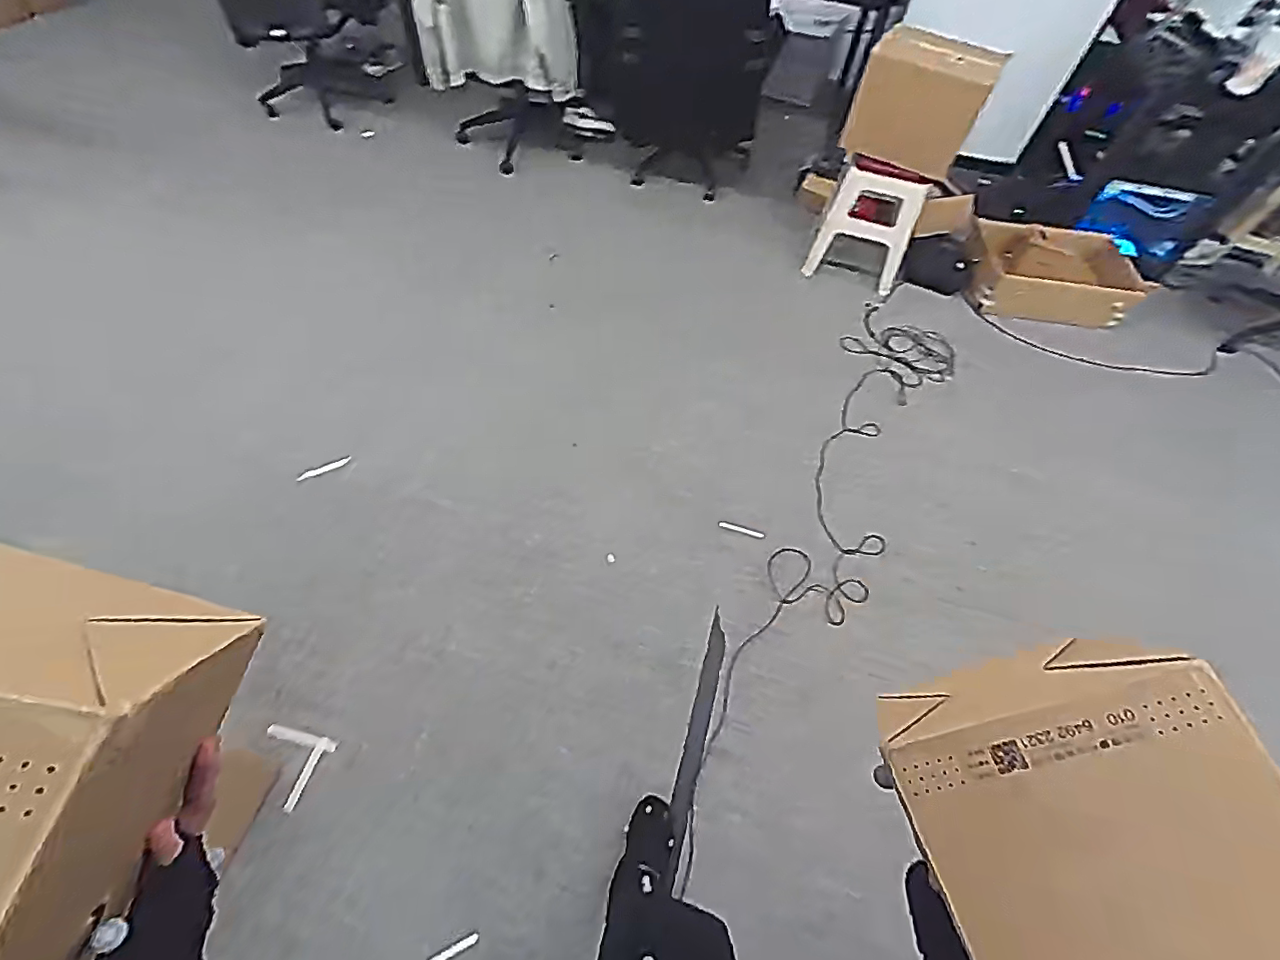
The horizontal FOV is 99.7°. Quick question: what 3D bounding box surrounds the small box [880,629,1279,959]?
[{"bbox_3d":[0.269,0.200,0.340,0.168,0.179,0.176,-26,70,16],"label":"small box"}]
